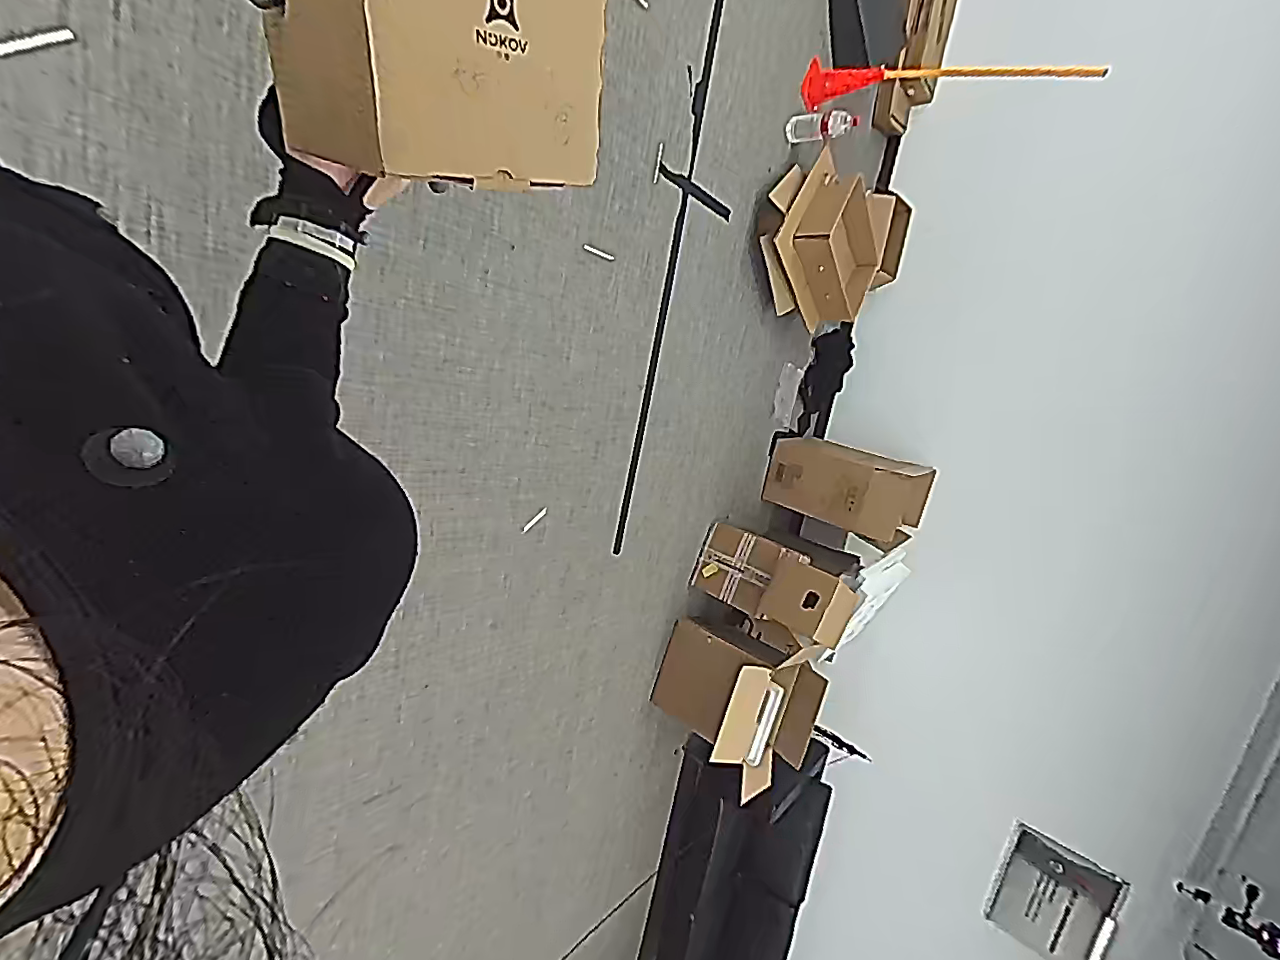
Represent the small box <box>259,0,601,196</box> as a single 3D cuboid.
[{"bbox_3d":[-0.146,-0.313,0.377,0.168,0.176,0.179,-24,134,-40],"label":"small box"}]
